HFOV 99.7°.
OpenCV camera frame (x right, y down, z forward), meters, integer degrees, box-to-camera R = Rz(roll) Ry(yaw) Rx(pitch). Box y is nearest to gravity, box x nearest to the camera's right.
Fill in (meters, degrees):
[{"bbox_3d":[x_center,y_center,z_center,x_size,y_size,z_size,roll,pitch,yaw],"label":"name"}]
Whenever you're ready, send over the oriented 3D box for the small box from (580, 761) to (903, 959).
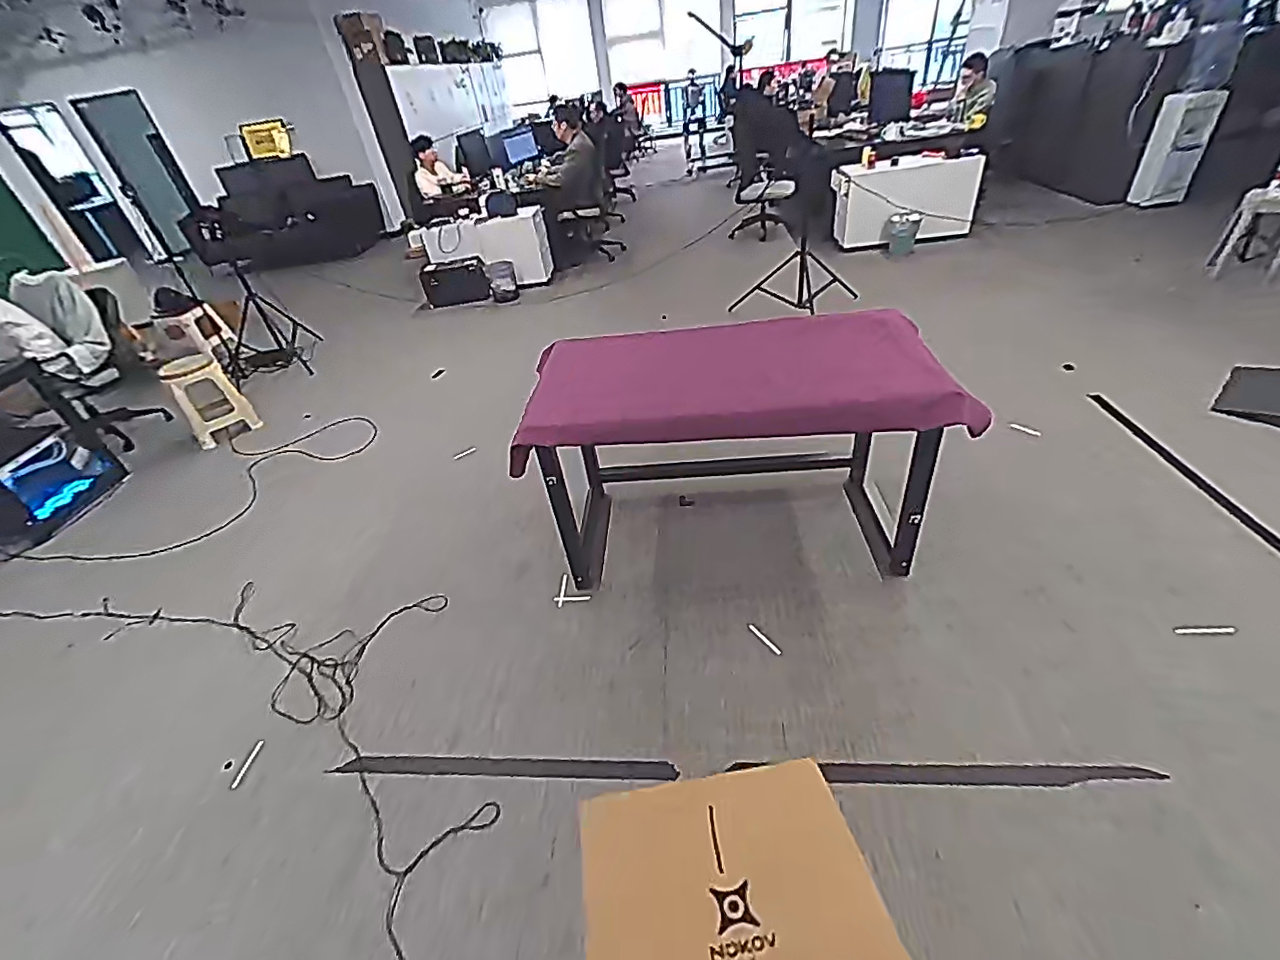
[{"bbox_3d":[0.058,0.316,0.329,0.168,0.176,0.179,-8,25,-5],"label":"small box"}]
